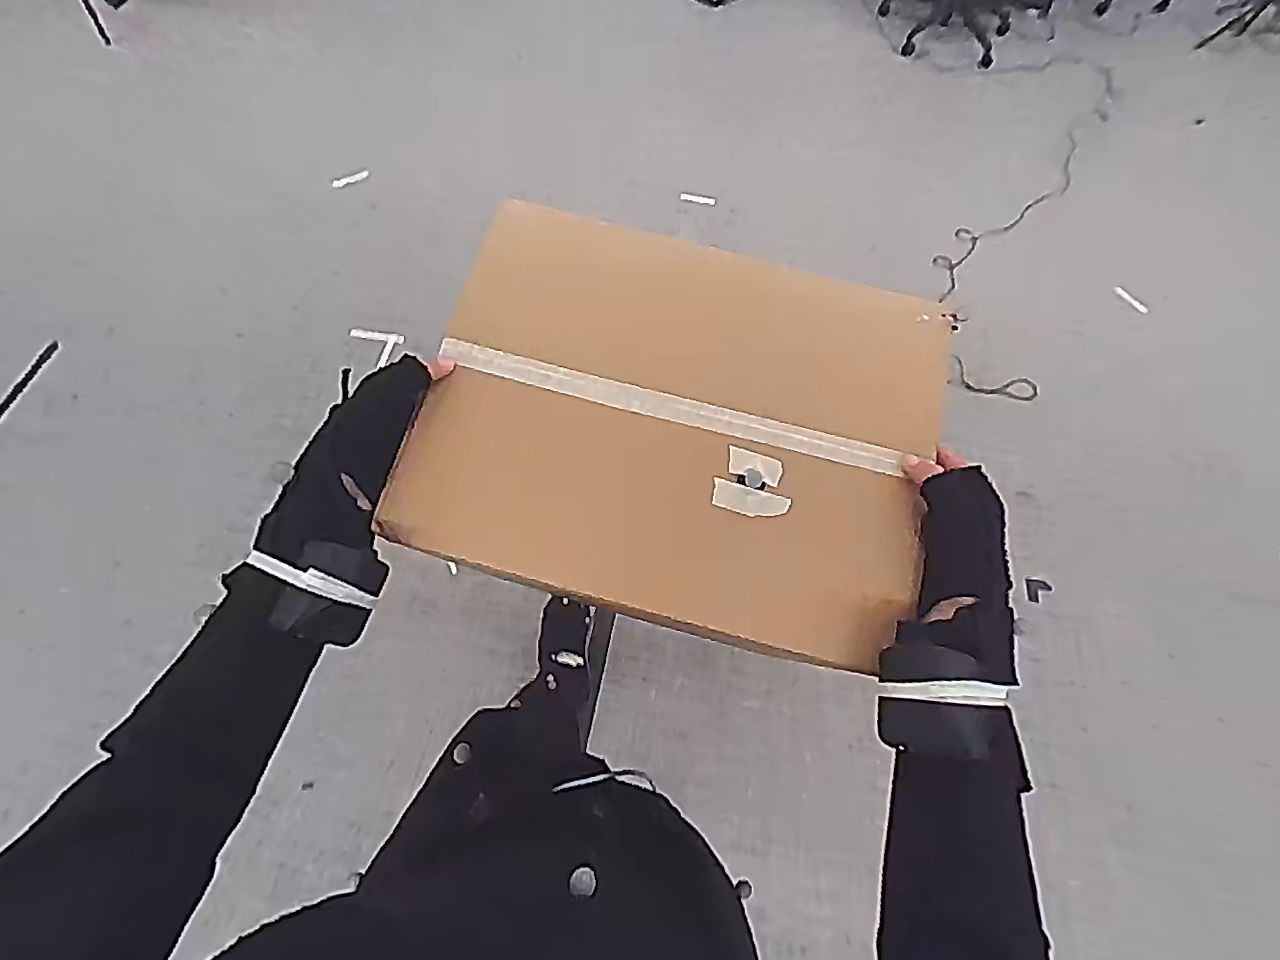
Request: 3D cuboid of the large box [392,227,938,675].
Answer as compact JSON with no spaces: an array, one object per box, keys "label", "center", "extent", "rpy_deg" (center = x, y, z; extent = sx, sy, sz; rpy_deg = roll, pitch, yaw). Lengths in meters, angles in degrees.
[{"label":"large box","center":[0.030,-0.004,0.588],"extent":[0.408,0.320,0.320],"rpy_deg":[15,76,2]}]
